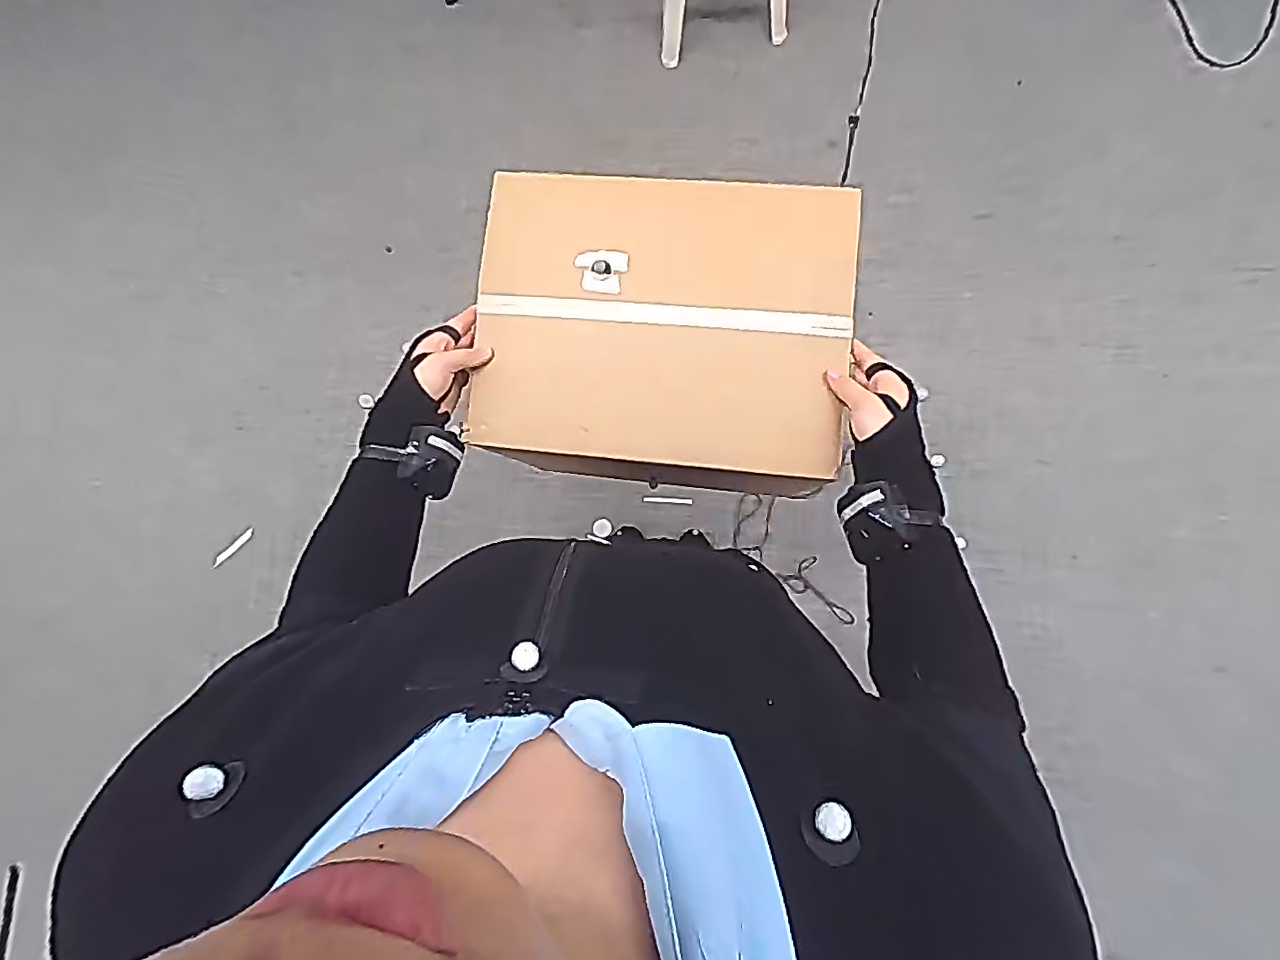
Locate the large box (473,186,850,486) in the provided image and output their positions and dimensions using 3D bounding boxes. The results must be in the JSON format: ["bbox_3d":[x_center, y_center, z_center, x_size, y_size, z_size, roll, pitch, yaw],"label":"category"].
[{"bbox_3d":[0.037,-0.164,0.742,0.408,0.320,0.320,5,85,6],"label":"large box"}]
